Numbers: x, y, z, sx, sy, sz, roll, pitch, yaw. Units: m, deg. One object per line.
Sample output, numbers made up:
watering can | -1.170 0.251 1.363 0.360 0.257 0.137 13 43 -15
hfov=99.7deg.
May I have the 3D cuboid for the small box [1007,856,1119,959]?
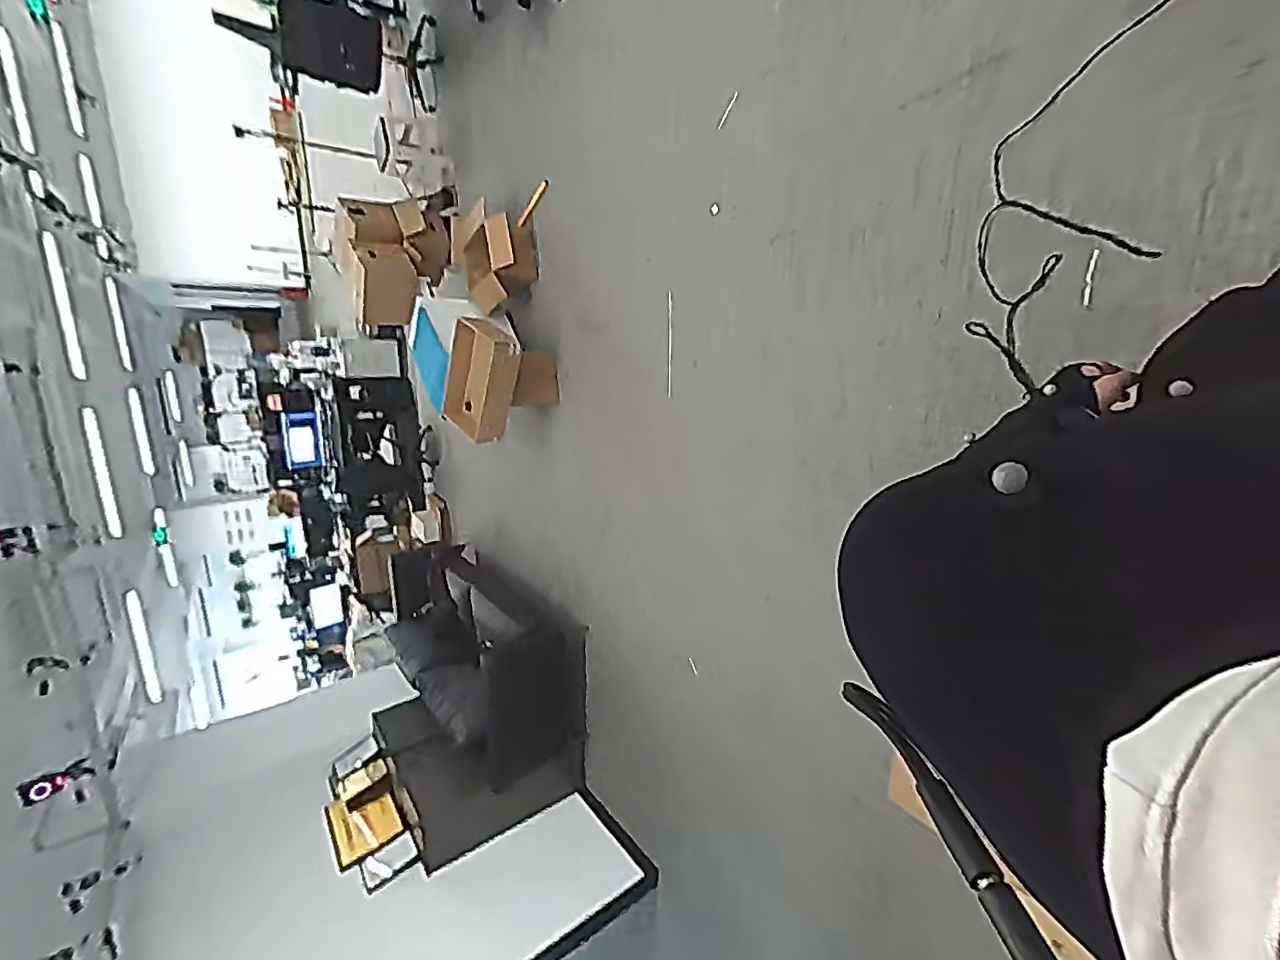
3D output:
small box | 0.996 1.045 1.273 0.168 0.176 0.179 11 107 53
